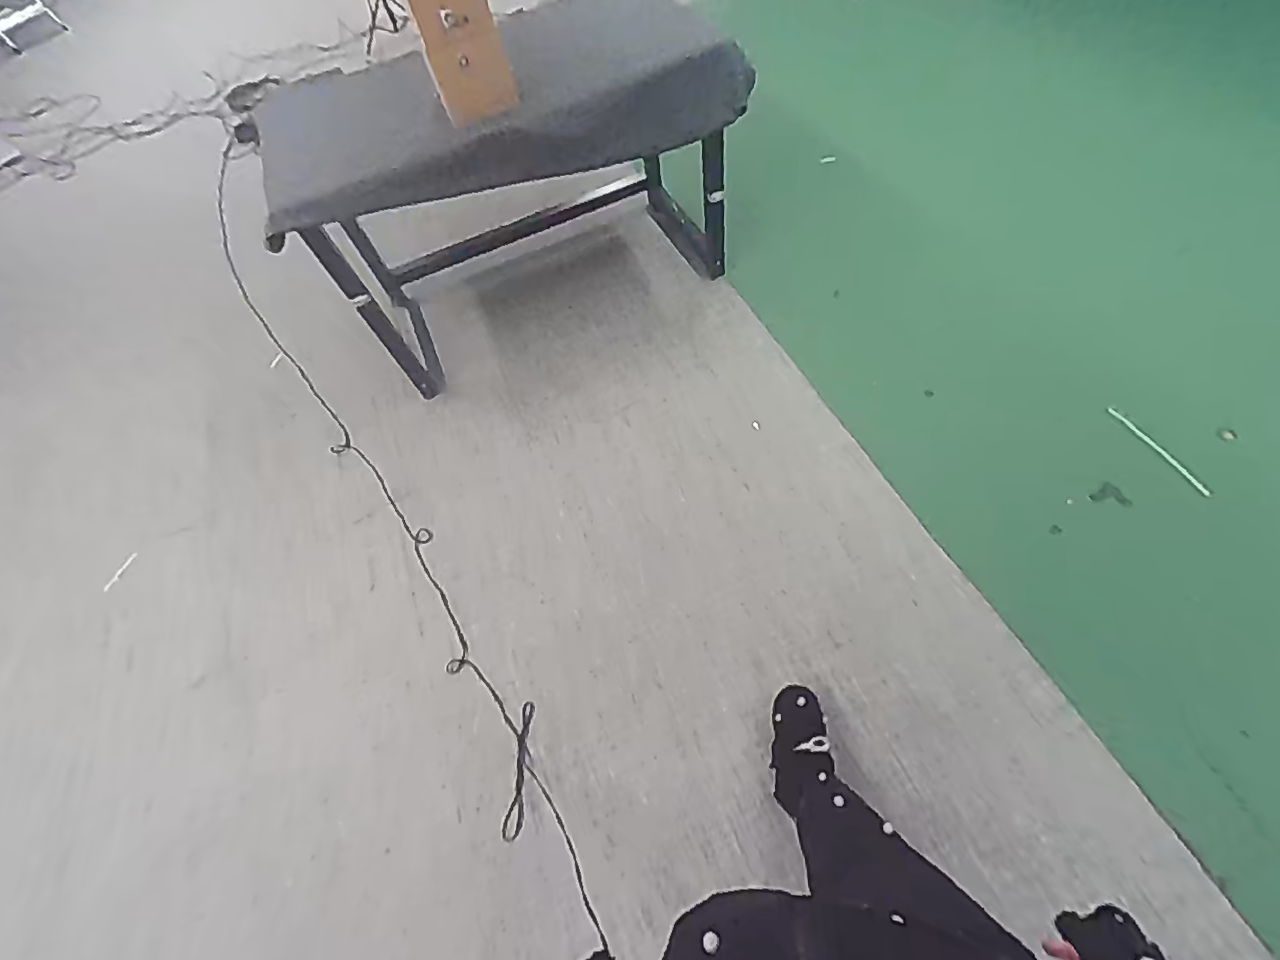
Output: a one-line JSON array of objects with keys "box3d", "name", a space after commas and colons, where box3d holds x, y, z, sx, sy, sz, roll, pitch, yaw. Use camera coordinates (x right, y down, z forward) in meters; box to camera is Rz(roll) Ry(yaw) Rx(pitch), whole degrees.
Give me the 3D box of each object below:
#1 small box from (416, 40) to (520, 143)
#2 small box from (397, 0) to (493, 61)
[{"box3d": [-0.423, -0.975, 1.343, 0.179, 0.176, 0.168, -24, 59, -6], "name": "small box"}, {"box3d": [-0.449, -1.072, 1.195, 0.168, 0.176, 0.179, -26, 60, -5], "name": "small box"}]
